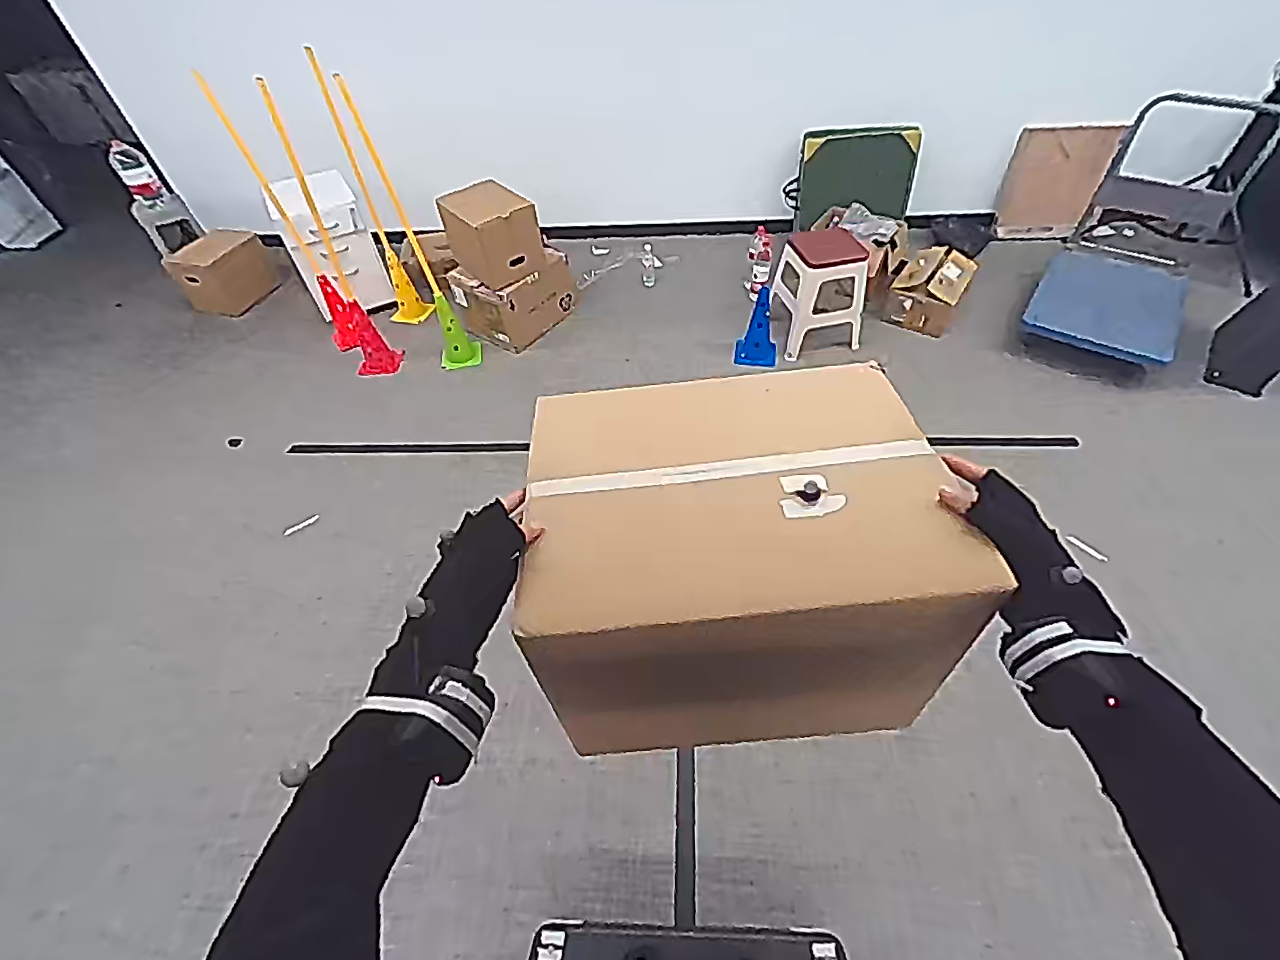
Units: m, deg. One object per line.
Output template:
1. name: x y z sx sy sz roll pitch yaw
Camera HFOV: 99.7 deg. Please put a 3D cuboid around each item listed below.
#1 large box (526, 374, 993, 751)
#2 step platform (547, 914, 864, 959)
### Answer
1. large box: 0.099 0.103 0.659 0.408 0.320 0.320 -6 47 1
2. step platform: 0.134 1.097 1.128 0.684 0.204 0.286 0 49 2
